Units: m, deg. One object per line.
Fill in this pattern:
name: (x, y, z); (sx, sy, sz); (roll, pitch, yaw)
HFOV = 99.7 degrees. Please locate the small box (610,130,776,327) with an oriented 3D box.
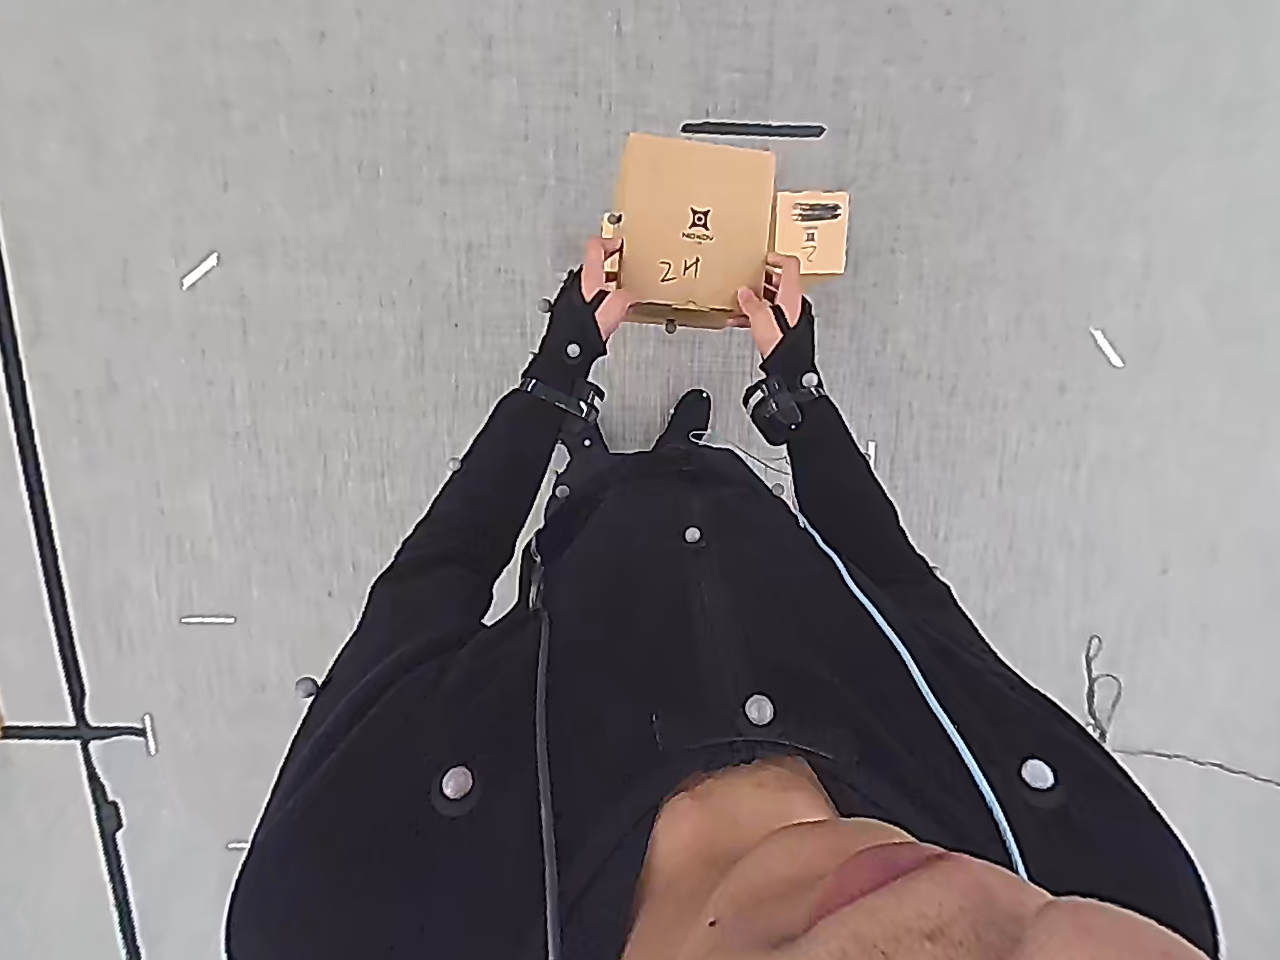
small box: (0.054, -0.297, 0.678); (0.168, 0.176, 0.179); (3, 100, -8)

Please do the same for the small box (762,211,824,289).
small box: (0.375, -0.612, 1.455); (0.179, 0.176, 0.168); (-1, 102, -4)

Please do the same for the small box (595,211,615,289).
small box: (-0.020, -0.595, 1.439); (0.179, 0.176, 0.168); (8, 101, -4)
